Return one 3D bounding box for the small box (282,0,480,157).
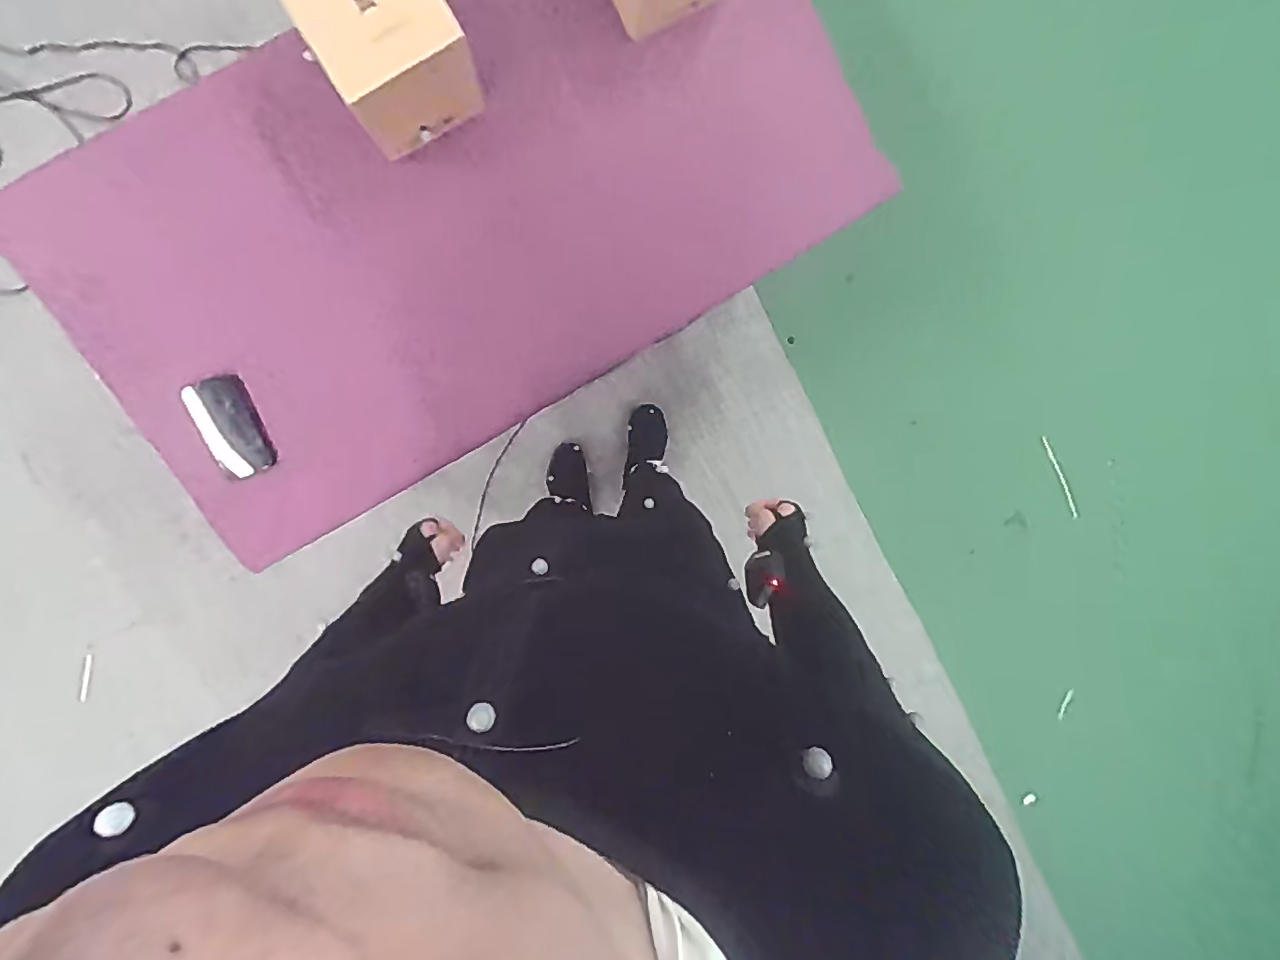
[{"bbox_3d":[-0.334,-0.572,0.705,0.168,0.176,0.179,-32,100,-2],"label":"small box"}]

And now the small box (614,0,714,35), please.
[{"bbox_3d":[0.027,-0.767,0.725,0.168,0.176,0.179,-29,99,-2],"label":"small box"}]
